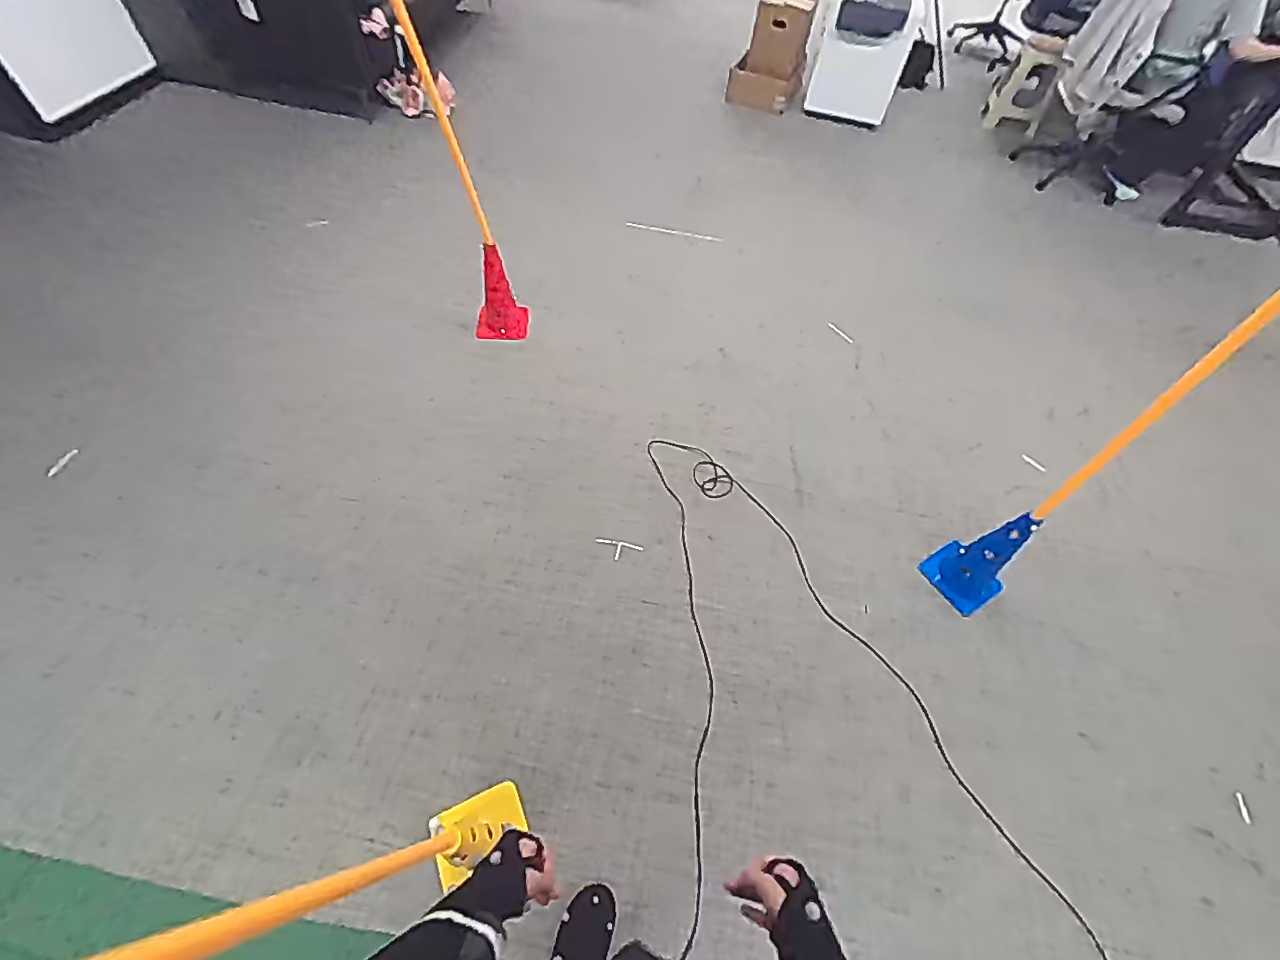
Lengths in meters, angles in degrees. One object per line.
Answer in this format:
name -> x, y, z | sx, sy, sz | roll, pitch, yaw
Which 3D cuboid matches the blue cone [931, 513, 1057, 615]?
blue cone -> 1.018, 0.201, 1.524 | 0.193, 0.380, 0.192 | -26, 60, -23
